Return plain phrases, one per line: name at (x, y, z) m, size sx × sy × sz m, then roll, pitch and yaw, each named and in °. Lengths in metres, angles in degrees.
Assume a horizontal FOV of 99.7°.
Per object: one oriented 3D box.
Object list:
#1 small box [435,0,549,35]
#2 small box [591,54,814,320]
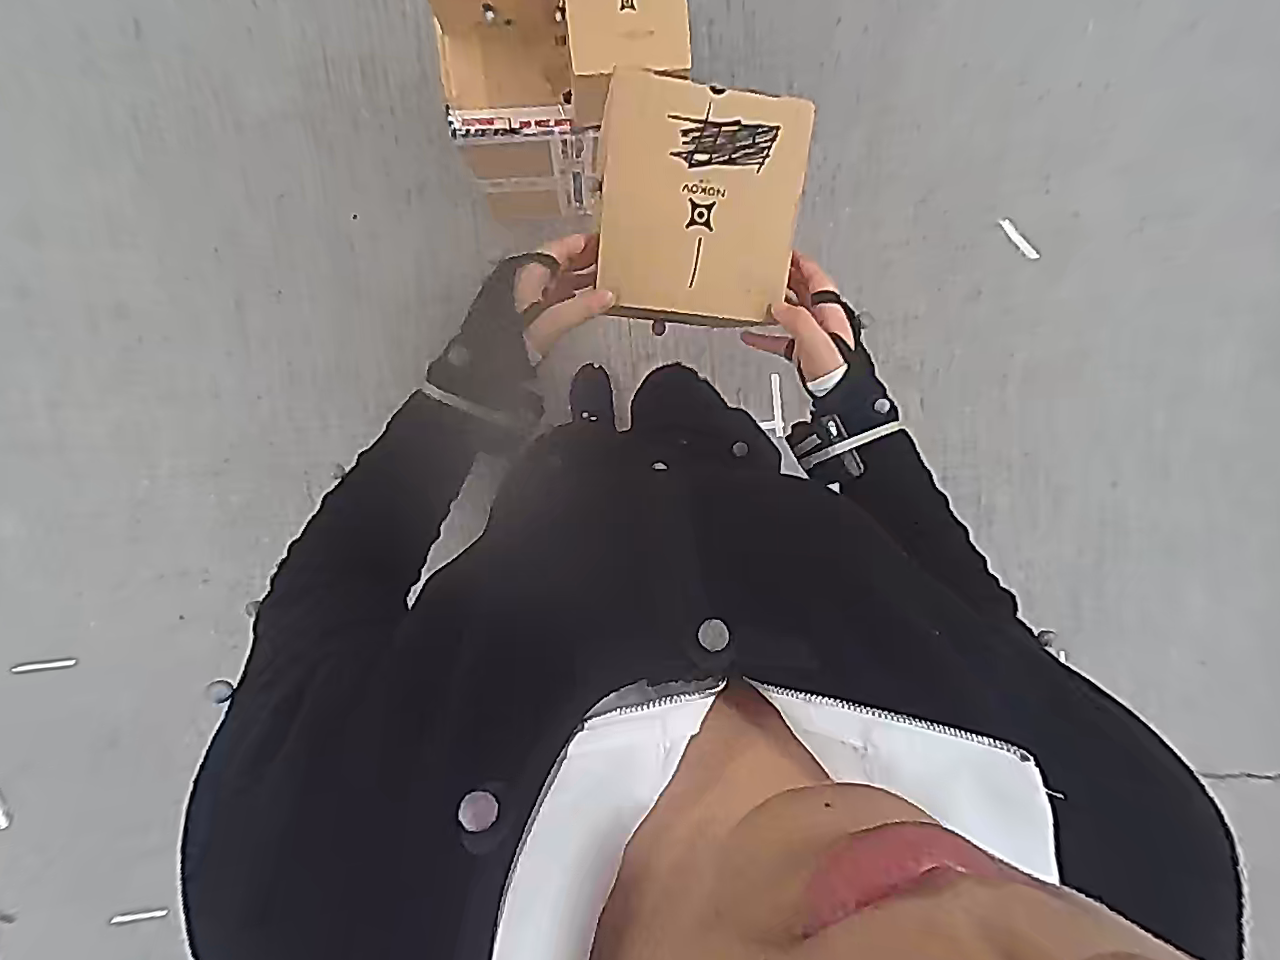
small box at (-0.226, -0.774, 0.754) m, size 0.168 × 0.176 × 0.179 m, roll -7°, pitch 103°, yaw -2°
small box at (0.043, -0.255, 0.520) m, size 0.168 × 0.176 × 0.179 m, roll 4°, pitch 104°, yaw -8°
